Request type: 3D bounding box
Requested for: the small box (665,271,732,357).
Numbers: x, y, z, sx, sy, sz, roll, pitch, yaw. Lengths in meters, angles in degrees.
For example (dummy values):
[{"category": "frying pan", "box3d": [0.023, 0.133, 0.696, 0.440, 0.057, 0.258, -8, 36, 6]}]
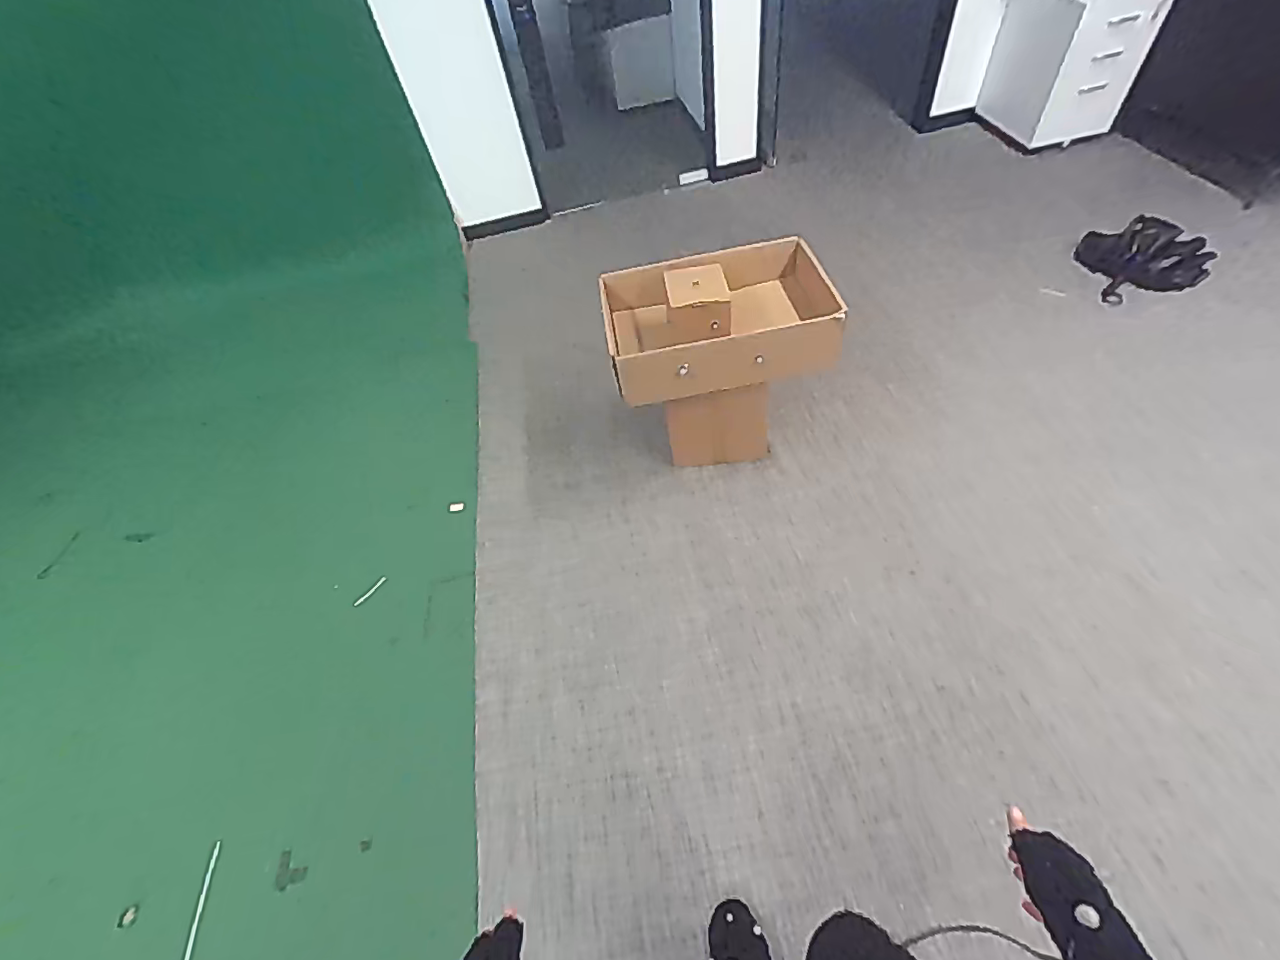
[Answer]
[{"category": "small box", "box3d": [0.167, -0.468, 1.546, 0.168, 0.176, 0.179, -8, 50, 1]}]
